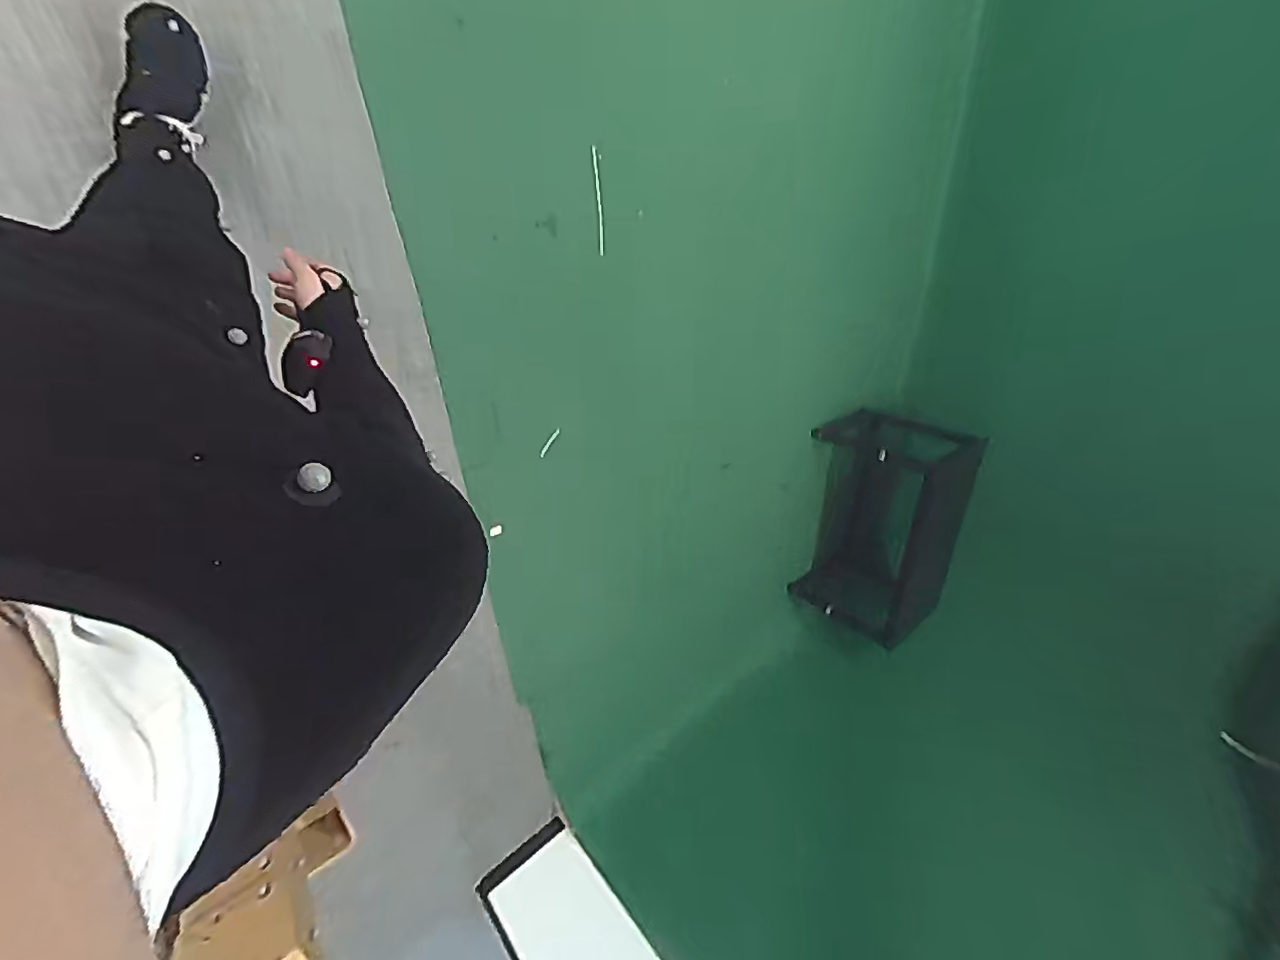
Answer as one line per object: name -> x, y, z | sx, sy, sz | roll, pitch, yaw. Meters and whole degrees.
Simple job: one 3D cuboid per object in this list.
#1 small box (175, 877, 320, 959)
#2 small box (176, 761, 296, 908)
small box -> -0.688, 0.859, 0.956 | 0.168, 0.176, 0.179 | -25, 124, -32
small box -> -0.894, 0.774, 1.199 | 0.168, 0.176, 0.179 | -23, 122, -33
